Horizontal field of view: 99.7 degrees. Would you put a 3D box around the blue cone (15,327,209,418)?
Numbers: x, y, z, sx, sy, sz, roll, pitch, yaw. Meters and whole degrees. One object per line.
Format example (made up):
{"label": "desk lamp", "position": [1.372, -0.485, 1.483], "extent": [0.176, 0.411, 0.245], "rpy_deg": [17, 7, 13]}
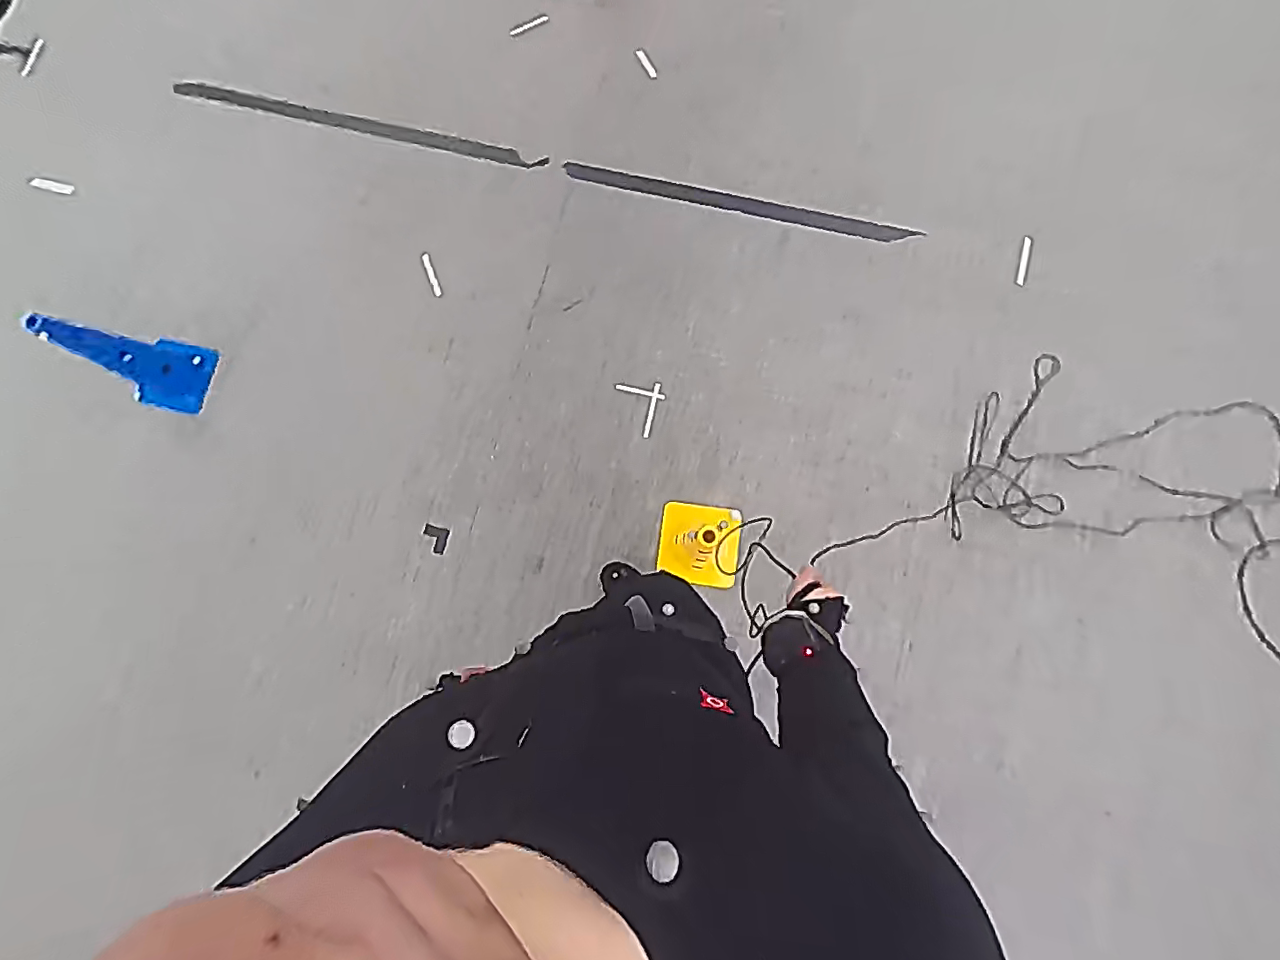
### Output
{"label": "blue cone", "position": [-1.328, -0.301, 1.359], "extent": [0.193, 0.380, 0.192], "rpy_deg": [15, 84, 6]}
